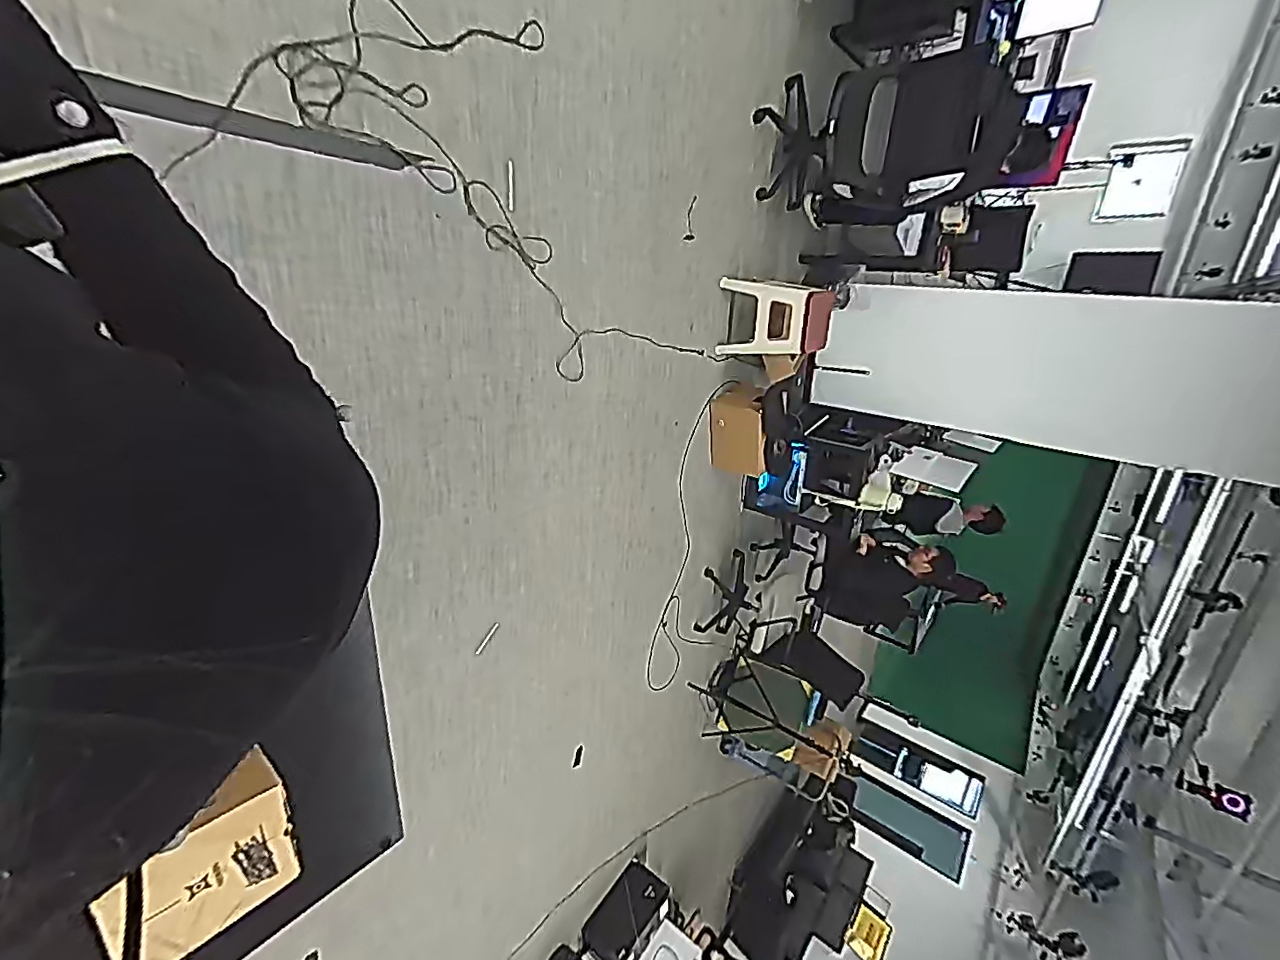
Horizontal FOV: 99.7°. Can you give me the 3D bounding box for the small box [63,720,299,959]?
[{"bbox_3d":[-0.562,0.440,0.672,0.179,0.176,0.168,-19,119,-48],"label":"small box"}]
